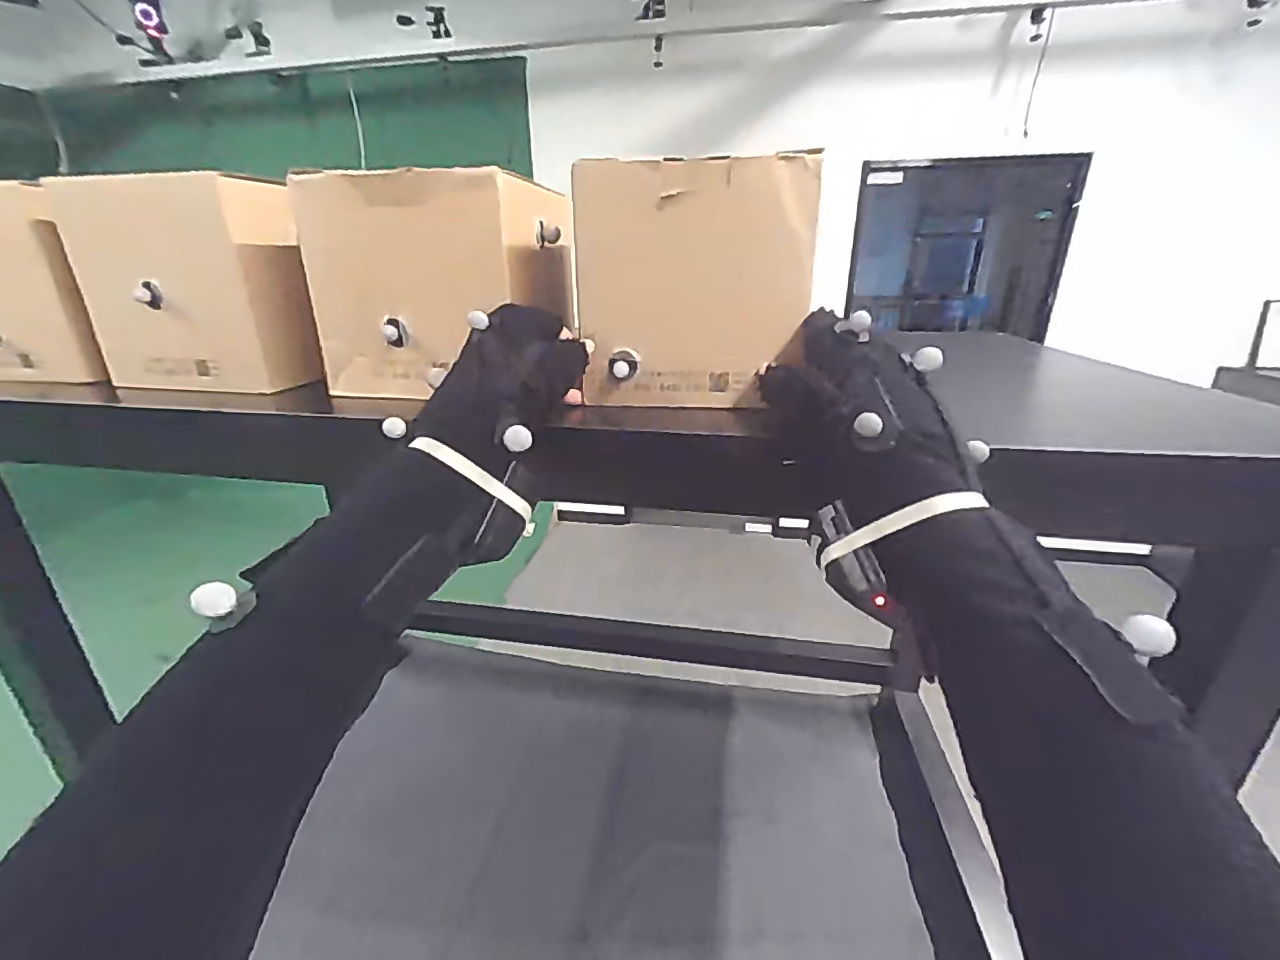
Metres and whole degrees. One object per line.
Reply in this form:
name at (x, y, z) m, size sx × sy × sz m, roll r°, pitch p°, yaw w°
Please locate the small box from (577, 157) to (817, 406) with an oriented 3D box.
small box at (0.049, -0.162, 0.466) m, size 0.168 × 0.176 × 0.179 m, roll 2°, pitch 20°, yaw 6°
